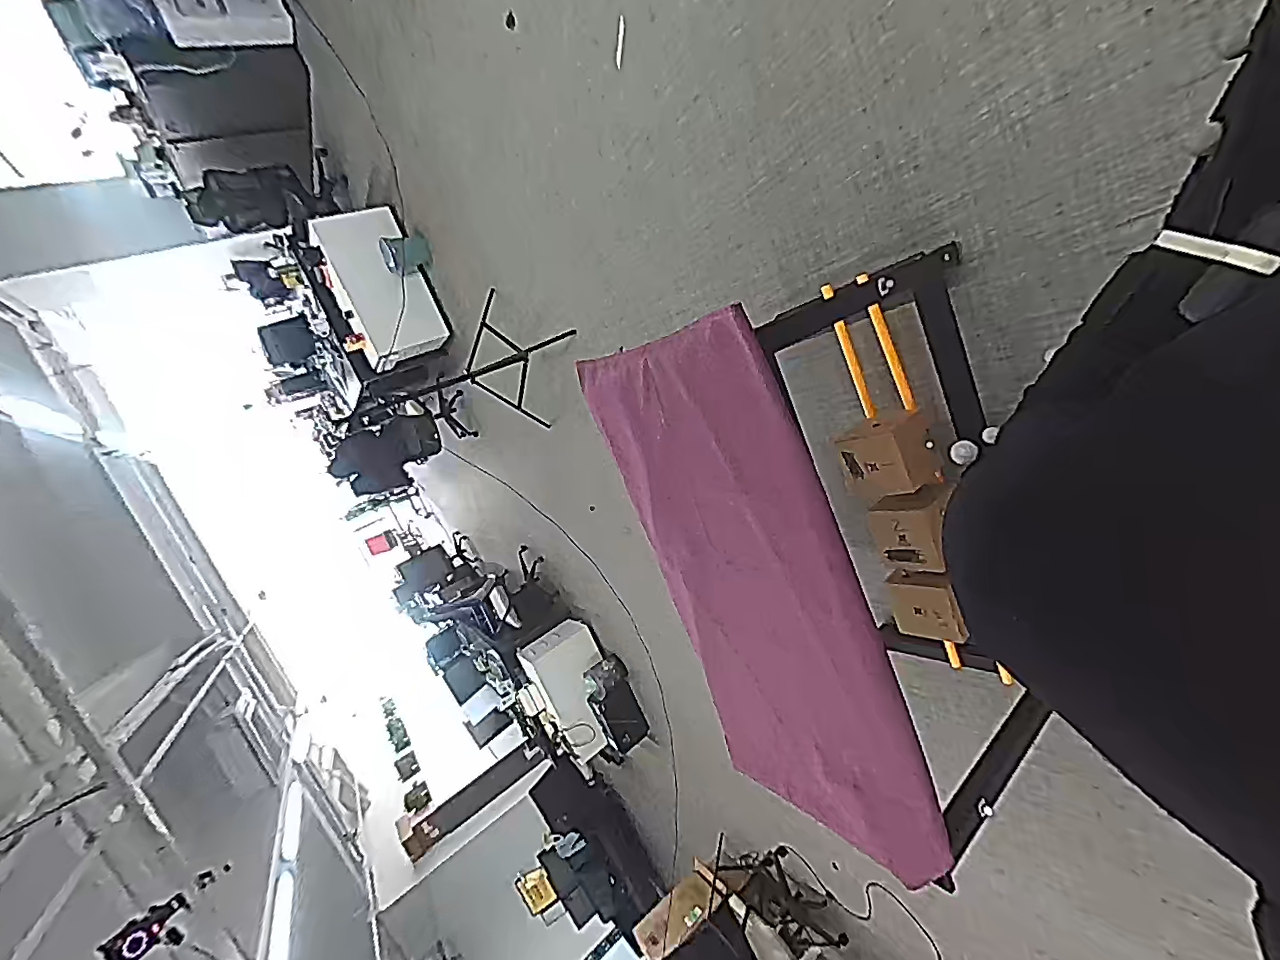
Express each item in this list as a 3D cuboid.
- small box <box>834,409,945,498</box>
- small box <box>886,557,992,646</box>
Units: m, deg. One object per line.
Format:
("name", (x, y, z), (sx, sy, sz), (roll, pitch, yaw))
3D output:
("small box", (0.642, -0.066, 1.390), (0.179, 0.176, 0.168), (-11, 107, 57))
("small box", (0.809, 0.319, 1.462), (0.179, 0.176, 0.168), (-8, 108, 57))
